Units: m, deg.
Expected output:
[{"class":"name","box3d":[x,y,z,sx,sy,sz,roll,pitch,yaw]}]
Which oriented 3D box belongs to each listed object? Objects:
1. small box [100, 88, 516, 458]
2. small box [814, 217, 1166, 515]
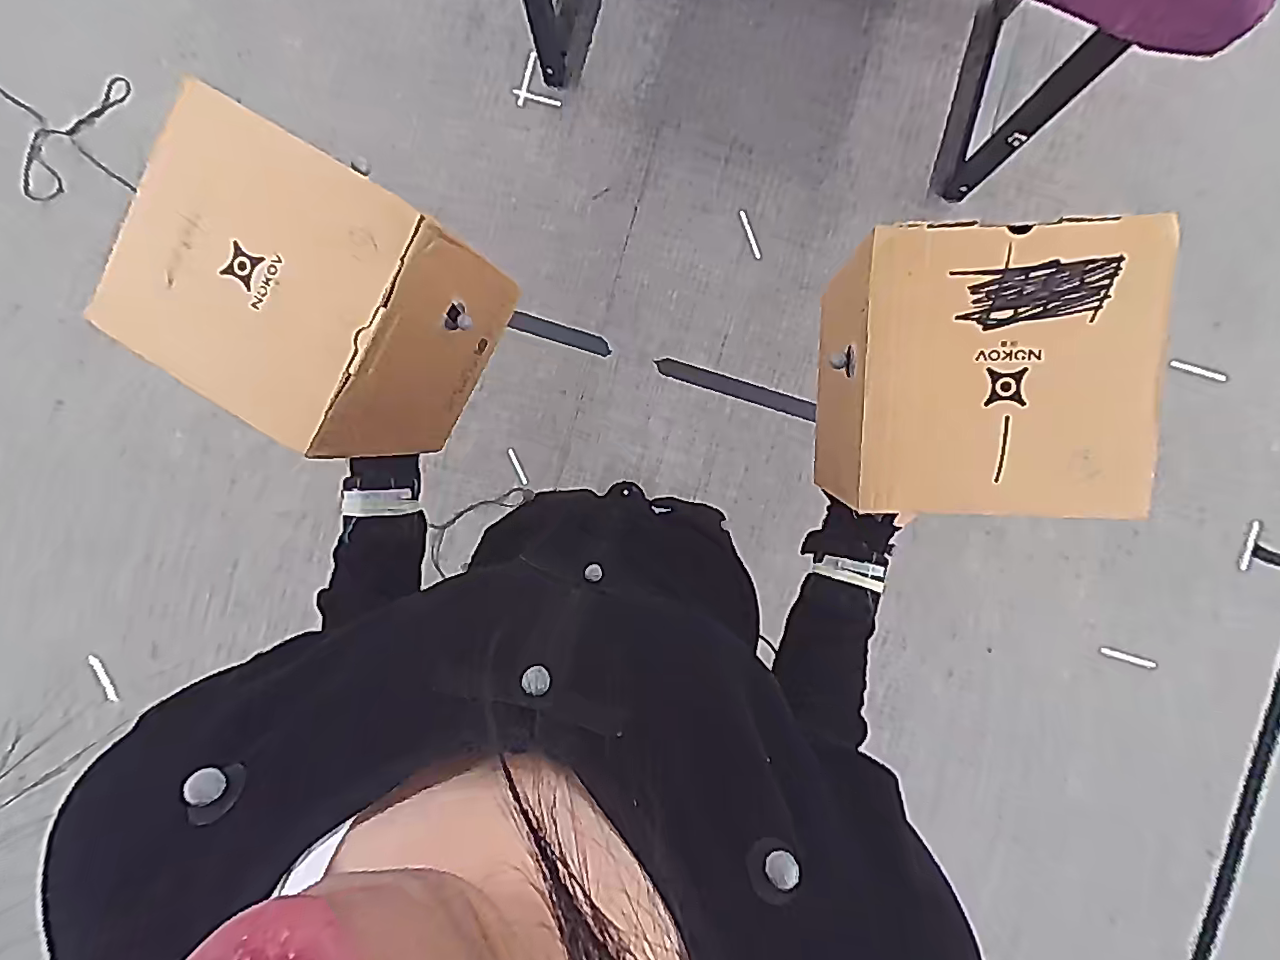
[{"class":"small box","box3d":[-0.222,-0.132,0.409,0.179,0.176,0.168,30,97,5]},{"class":"small box","box3d":[0.231,-0.075,0.407,0.168,0.176,0.179,1,96,8]}]
